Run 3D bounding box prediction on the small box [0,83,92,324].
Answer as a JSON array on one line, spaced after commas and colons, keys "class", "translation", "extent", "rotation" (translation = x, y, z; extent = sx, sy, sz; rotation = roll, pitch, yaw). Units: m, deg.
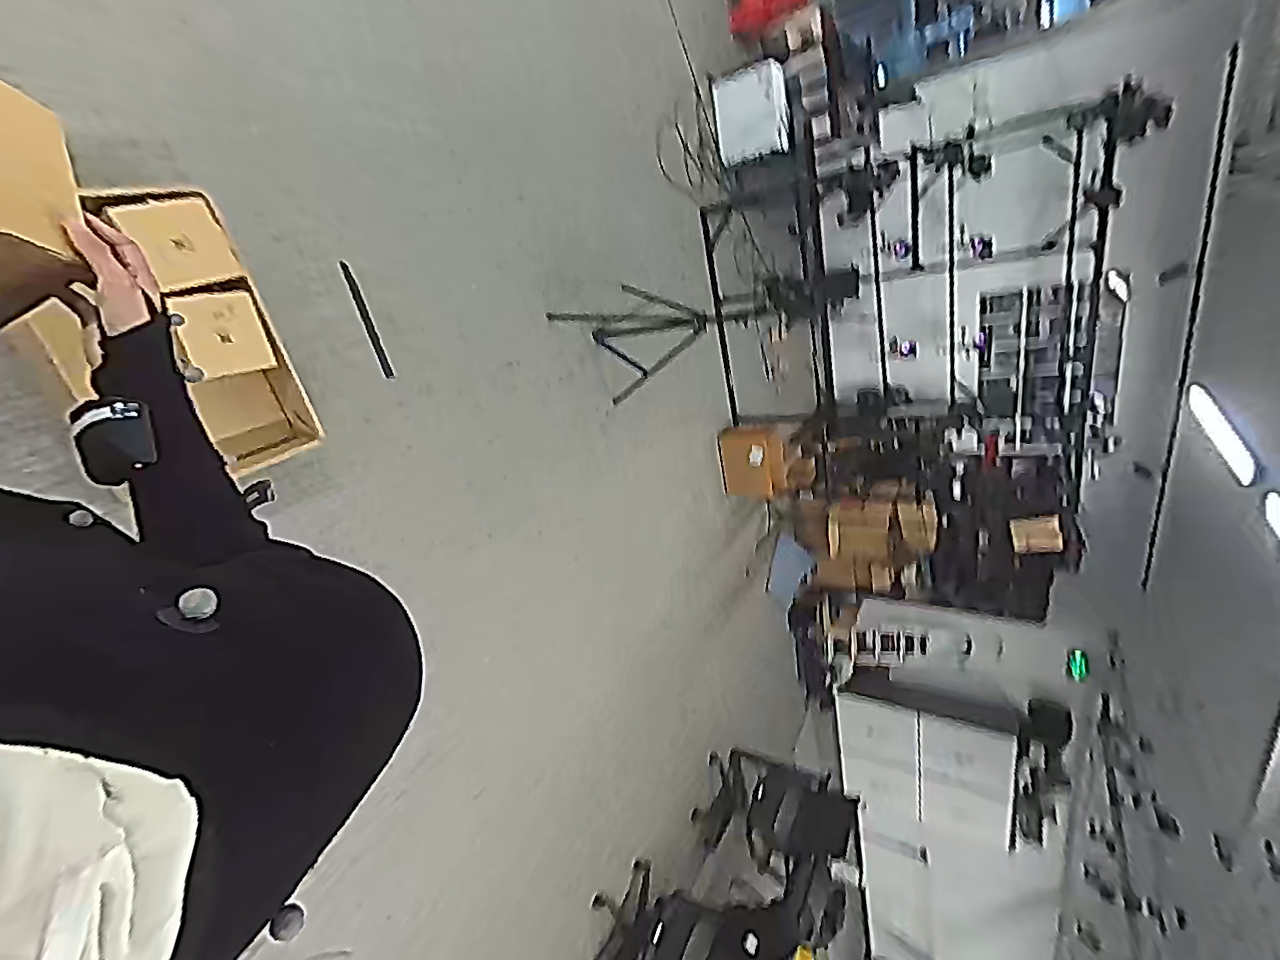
[{"class": "small box", "translation": [-0.602, -0.236, 0.421], "extent": [0.179, 0.176, 0.168], "rotation": [67, 10, 9]}]
